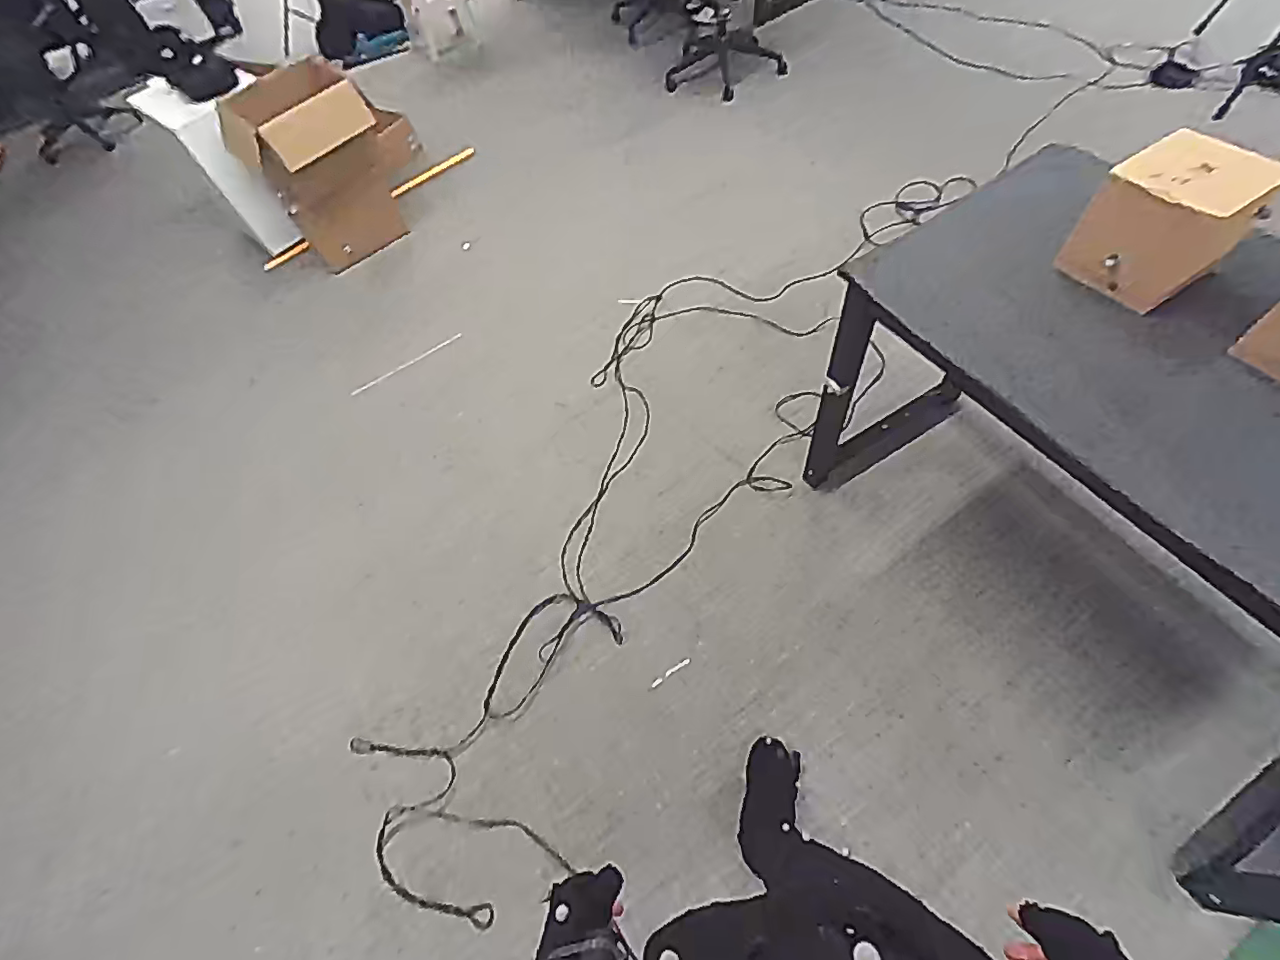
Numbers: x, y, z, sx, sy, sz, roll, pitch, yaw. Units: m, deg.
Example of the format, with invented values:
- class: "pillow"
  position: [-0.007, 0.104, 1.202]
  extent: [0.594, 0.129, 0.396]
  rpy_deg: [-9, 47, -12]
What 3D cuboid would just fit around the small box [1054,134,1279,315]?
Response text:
- class: "small box"
  position: [0.817, -0.399, 0.856]
  extent: [0.179, 0.176, 0.168]
  rpy_deg: [-31, 59, -11]
